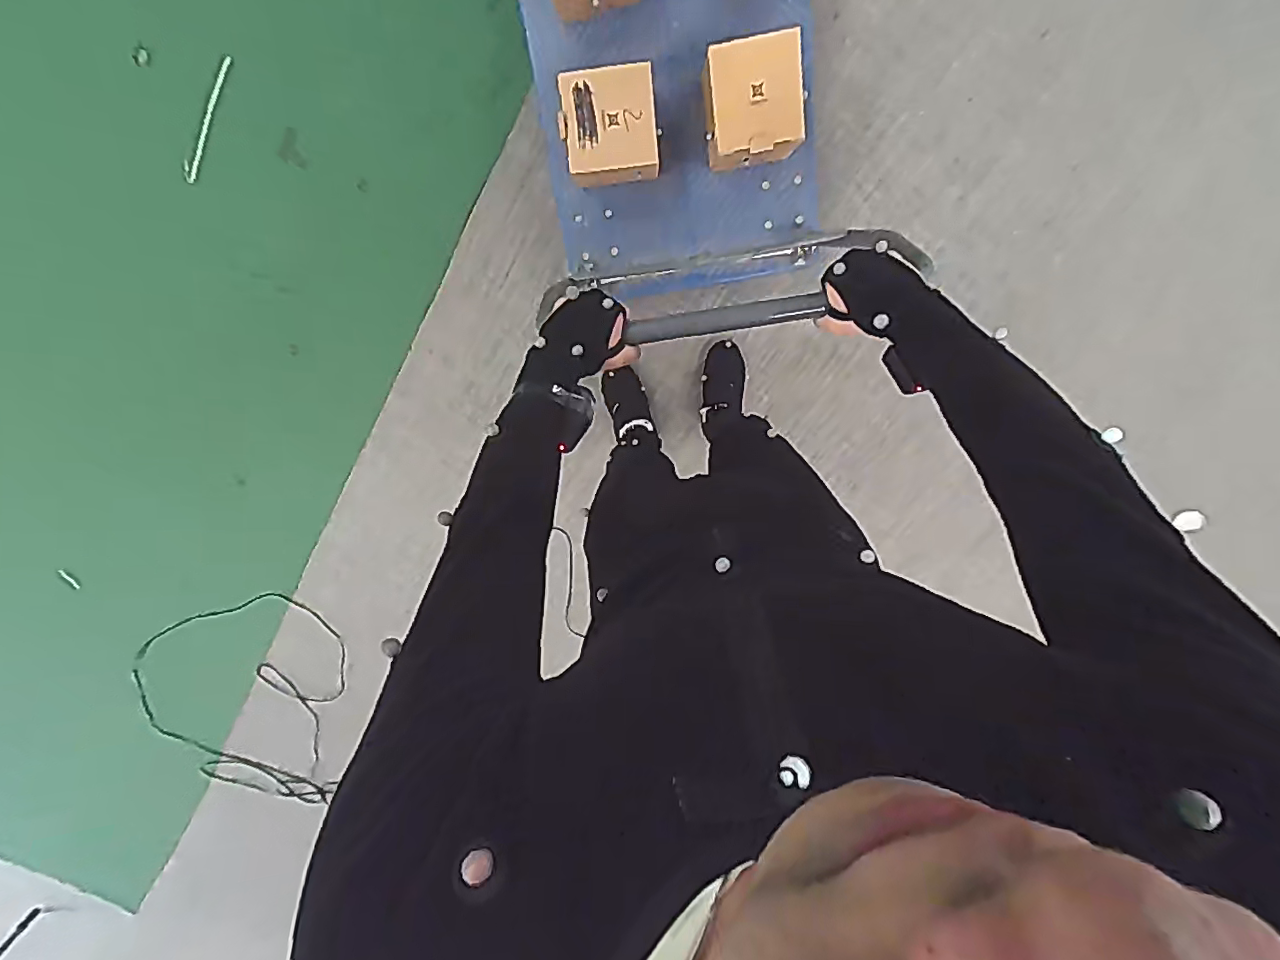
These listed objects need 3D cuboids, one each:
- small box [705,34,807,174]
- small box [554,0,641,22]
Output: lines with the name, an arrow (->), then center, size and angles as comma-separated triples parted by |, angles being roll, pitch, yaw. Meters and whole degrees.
small box -> 0.223, -0.727, 1.065 | 0.168, 0.176, 0.179 | -8, 111, 5
small box -> -0.093, -0.975, 0.980 | 0.168, 0.176, 0.179 | -11, 110, 6
